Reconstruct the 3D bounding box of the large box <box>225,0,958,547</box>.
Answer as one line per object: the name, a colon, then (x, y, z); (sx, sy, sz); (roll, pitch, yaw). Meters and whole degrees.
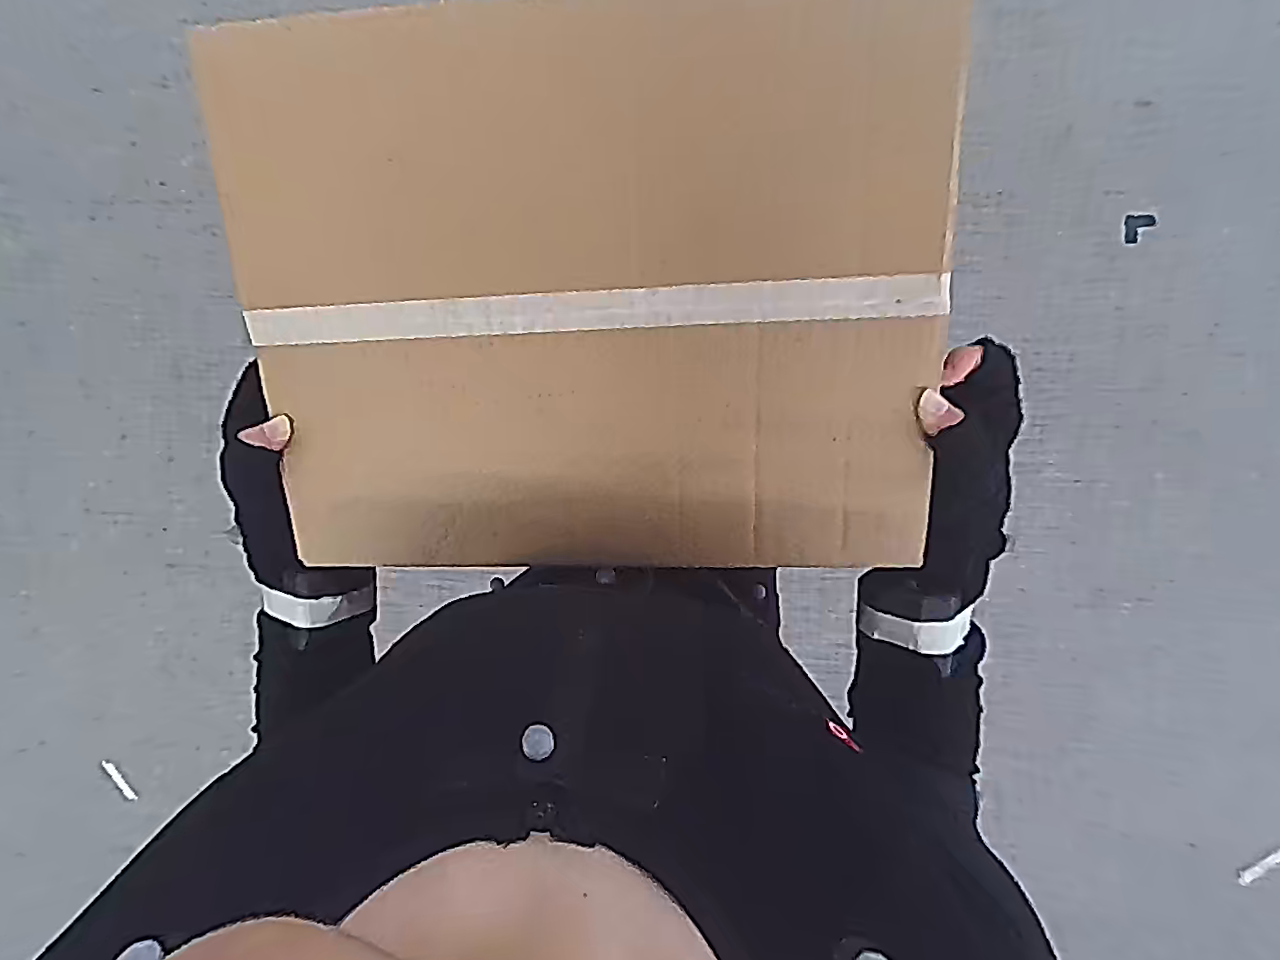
large box: (-0.021, -0.143, 0.464); (0.408, 0.320, 0.320); (-1, 105, 5)
